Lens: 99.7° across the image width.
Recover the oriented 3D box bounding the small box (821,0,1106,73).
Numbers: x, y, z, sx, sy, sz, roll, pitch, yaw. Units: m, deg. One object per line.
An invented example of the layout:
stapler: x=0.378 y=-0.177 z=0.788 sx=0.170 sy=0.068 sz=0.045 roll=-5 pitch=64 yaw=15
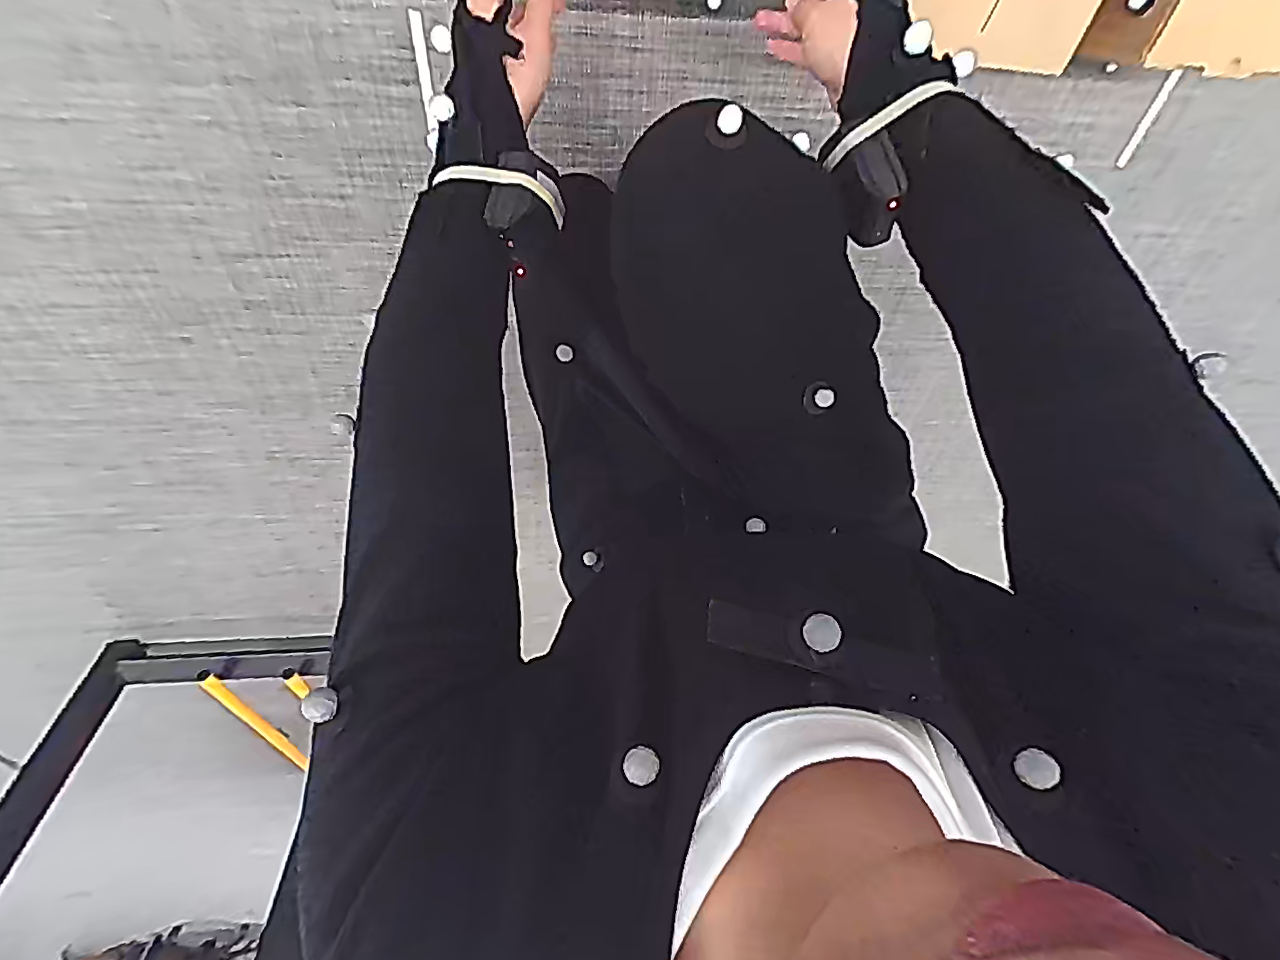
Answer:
small box: x=0.264 y=-0.447 z=0.422 sx=0.168 sy=0.176 sz=0.179 roll=0 pitch=135 yaw=-8

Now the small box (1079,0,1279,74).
small box: x=0.490 y=-0.458 z=0.445 sx=0.168 sy=0.176 sz=0.179 roll=-1 pitch=135 yaw=-7
